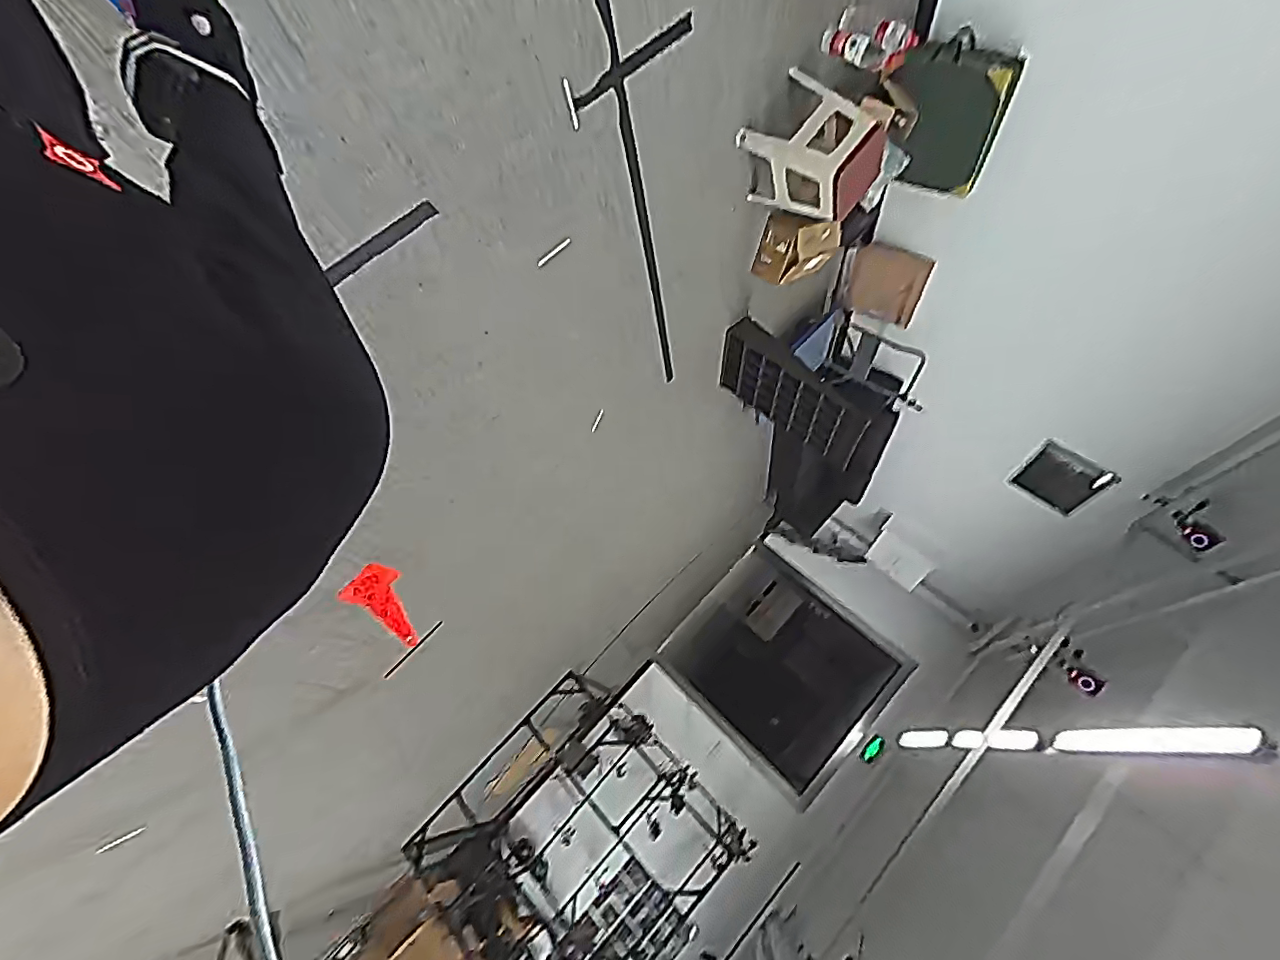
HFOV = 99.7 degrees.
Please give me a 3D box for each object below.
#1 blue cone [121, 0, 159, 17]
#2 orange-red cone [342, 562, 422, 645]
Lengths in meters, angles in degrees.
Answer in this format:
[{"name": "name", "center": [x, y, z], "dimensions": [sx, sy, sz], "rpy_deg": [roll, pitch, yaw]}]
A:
[{"name": "blue cone", "center": [-0.702, -0.792, 0.789], "dimensions": [0.193, 0.380, 0.192], "rpy_deg": [-47, 156, -8]}, {"name": "orange-red cone", "center": [-1.000, 0.533, 2.199], "dimensions": [0.199, 0.360, 0.198], "rpy_deg": [-48, 157, -9]}]
